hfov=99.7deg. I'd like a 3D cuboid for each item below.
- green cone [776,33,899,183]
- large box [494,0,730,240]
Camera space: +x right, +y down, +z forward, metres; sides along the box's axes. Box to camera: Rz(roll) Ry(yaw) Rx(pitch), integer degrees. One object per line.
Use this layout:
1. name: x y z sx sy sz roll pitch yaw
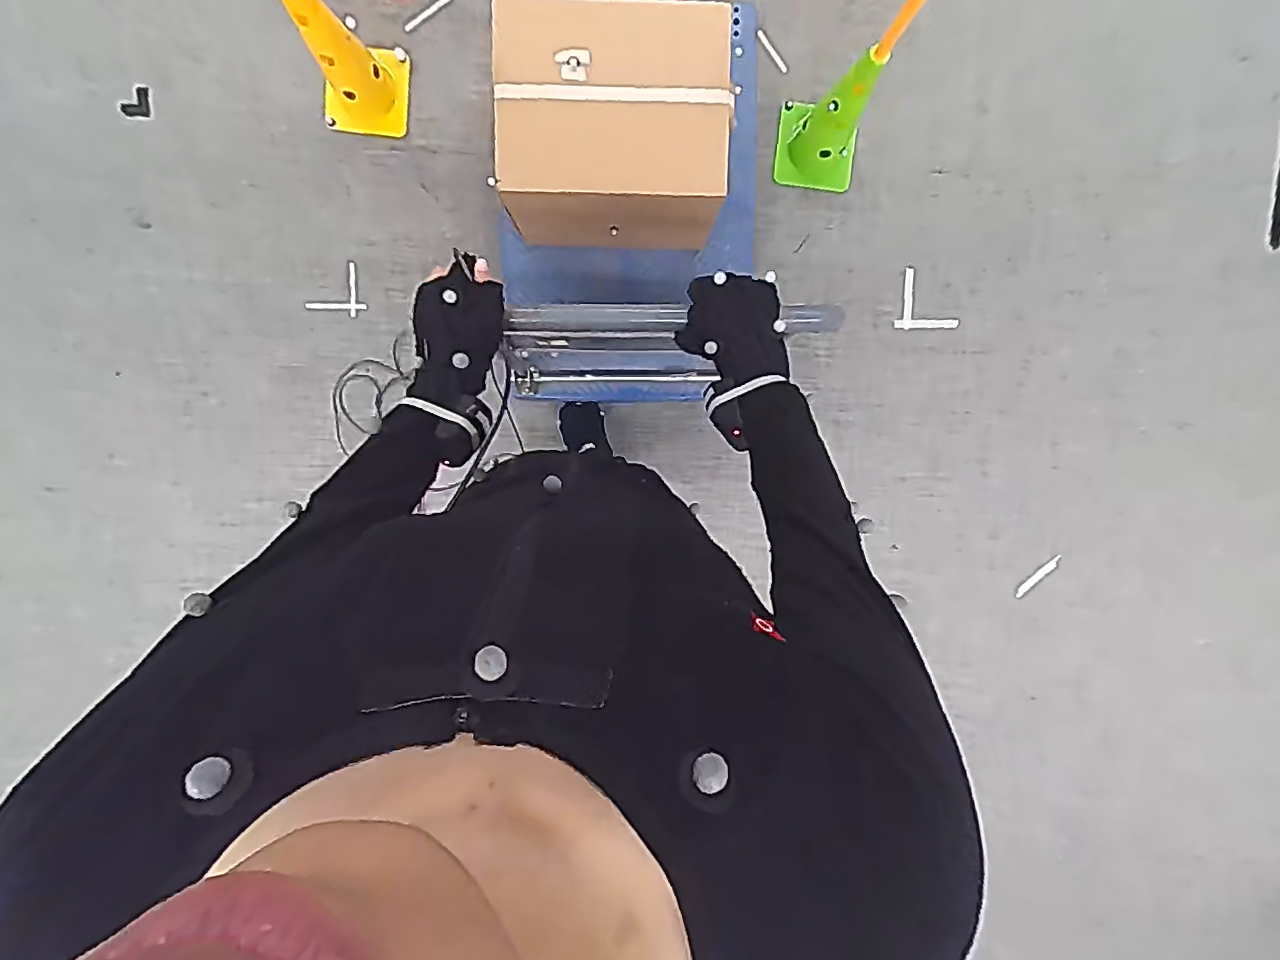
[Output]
1. green cone: 0.462 -0.852 1.211 0.202 0.368 0.200 6 96 -4
2. large box: -0.047 -0.679 1.070 0.408 0.320 0.320 1 97 -1
